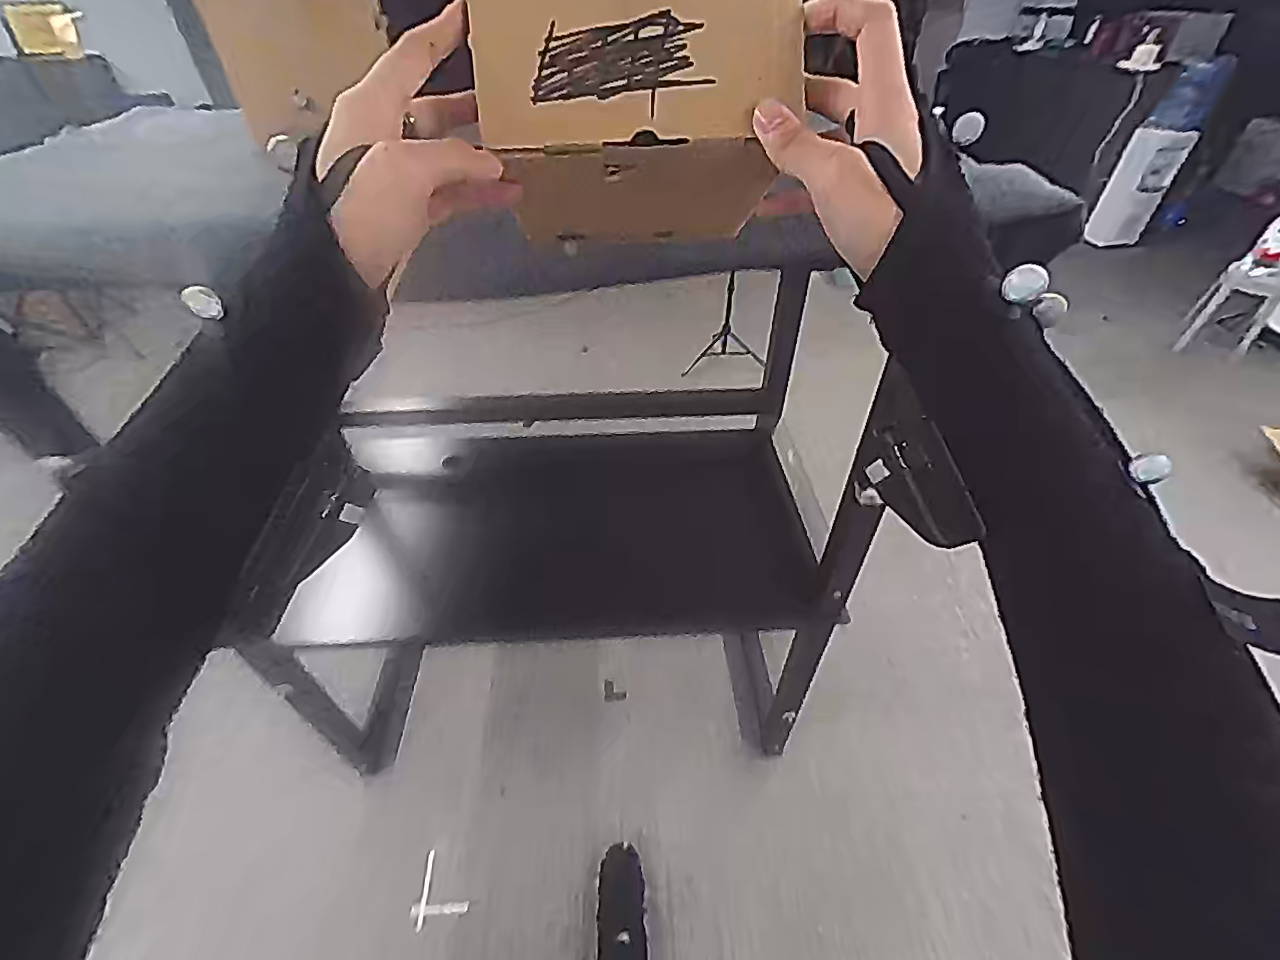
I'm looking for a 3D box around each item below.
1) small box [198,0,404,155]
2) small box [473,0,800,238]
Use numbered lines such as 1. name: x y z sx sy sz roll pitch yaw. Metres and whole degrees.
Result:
1. small box: -0.441 -0.560 0.740 0.168 0.176 0.179 -4 44 -4
2. small box: -0.005 -0.268 0.347 0.168 0.179 0.176 -4 6 -2
